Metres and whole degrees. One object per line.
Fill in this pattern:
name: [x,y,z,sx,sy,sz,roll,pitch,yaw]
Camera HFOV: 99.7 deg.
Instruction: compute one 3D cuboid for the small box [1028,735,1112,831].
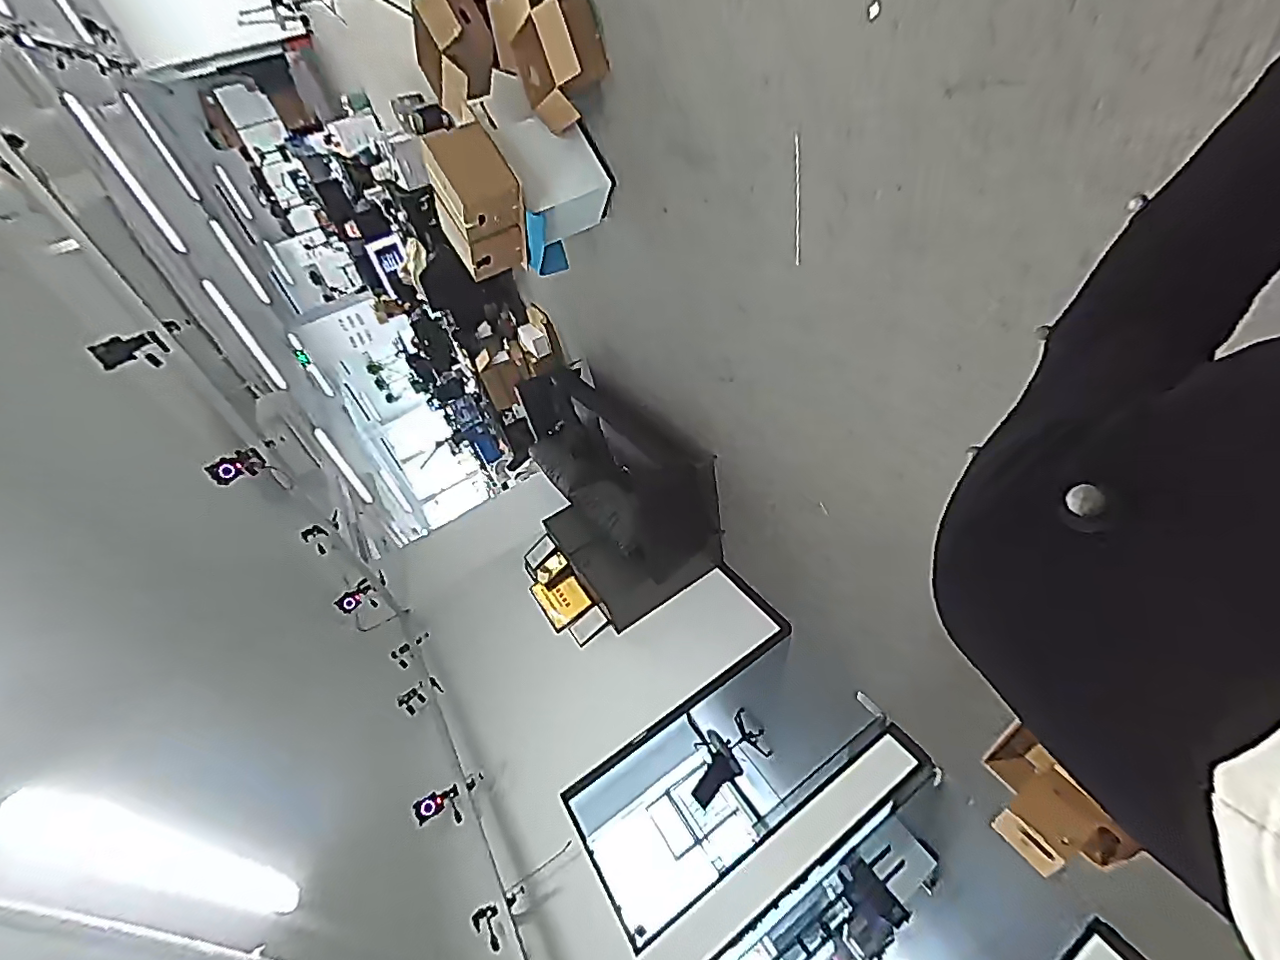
small box: [1.344,0.922,1.651,0.168,0.176,0.179,45,156,42]
